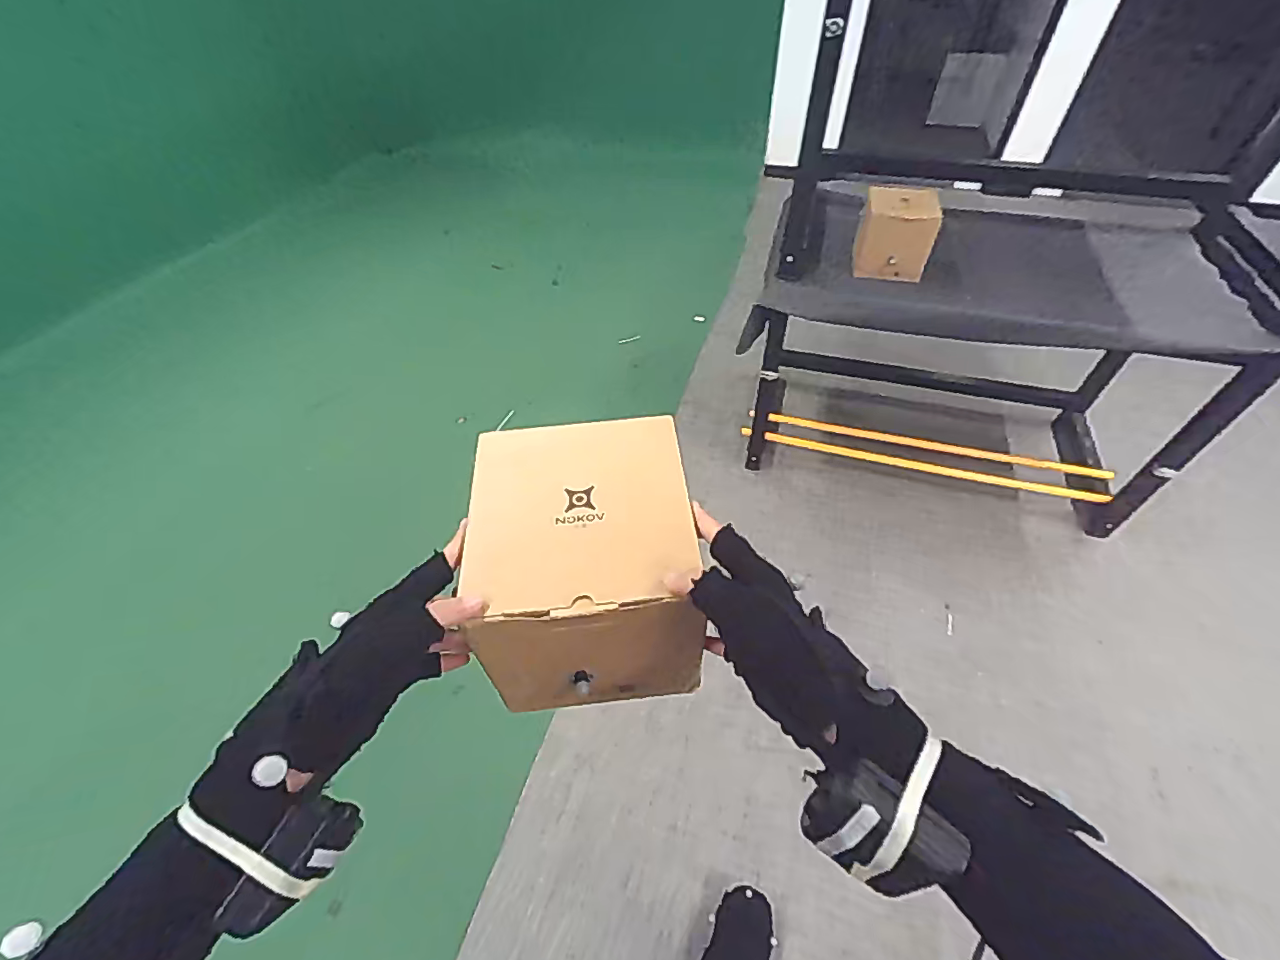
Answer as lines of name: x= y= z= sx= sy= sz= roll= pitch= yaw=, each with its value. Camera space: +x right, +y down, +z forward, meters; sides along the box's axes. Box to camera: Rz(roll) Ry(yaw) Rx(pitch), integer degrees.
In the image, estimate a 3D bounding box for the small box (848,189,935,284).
small box: x=0.656 y=-0.643 z=1.430 sx=0.168 sy=0.176 sz=0.179 roll=10 pitch=49 yaw=11
